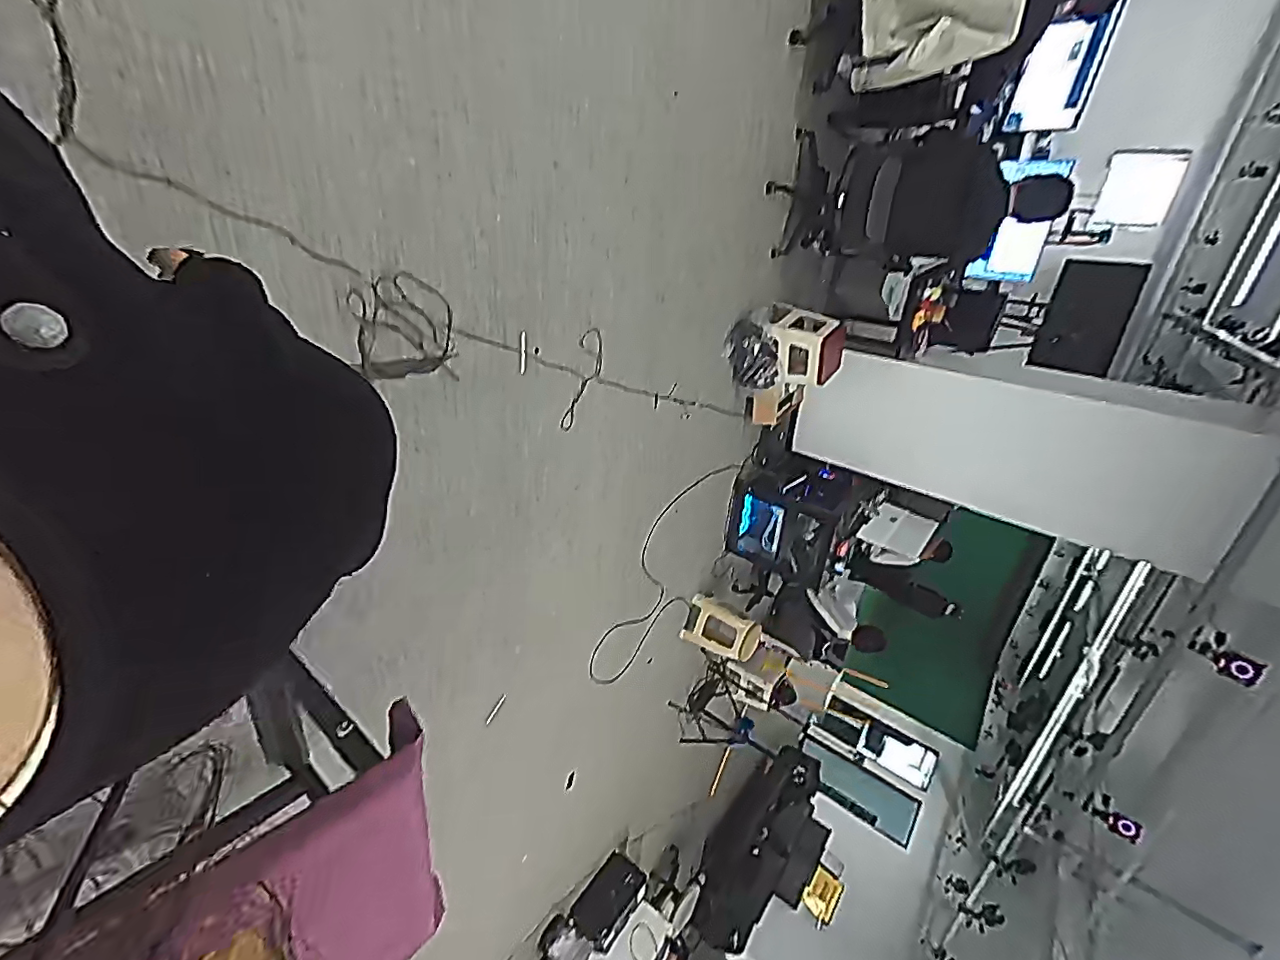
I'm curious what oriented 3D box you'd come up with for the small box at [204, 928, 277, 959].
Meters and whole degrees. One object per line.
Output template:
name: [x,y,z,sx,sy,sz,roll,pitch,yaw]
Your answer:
small box: [-0.658,0.873,0.856,0.168,0.176,0.179,-23,128,-48]
